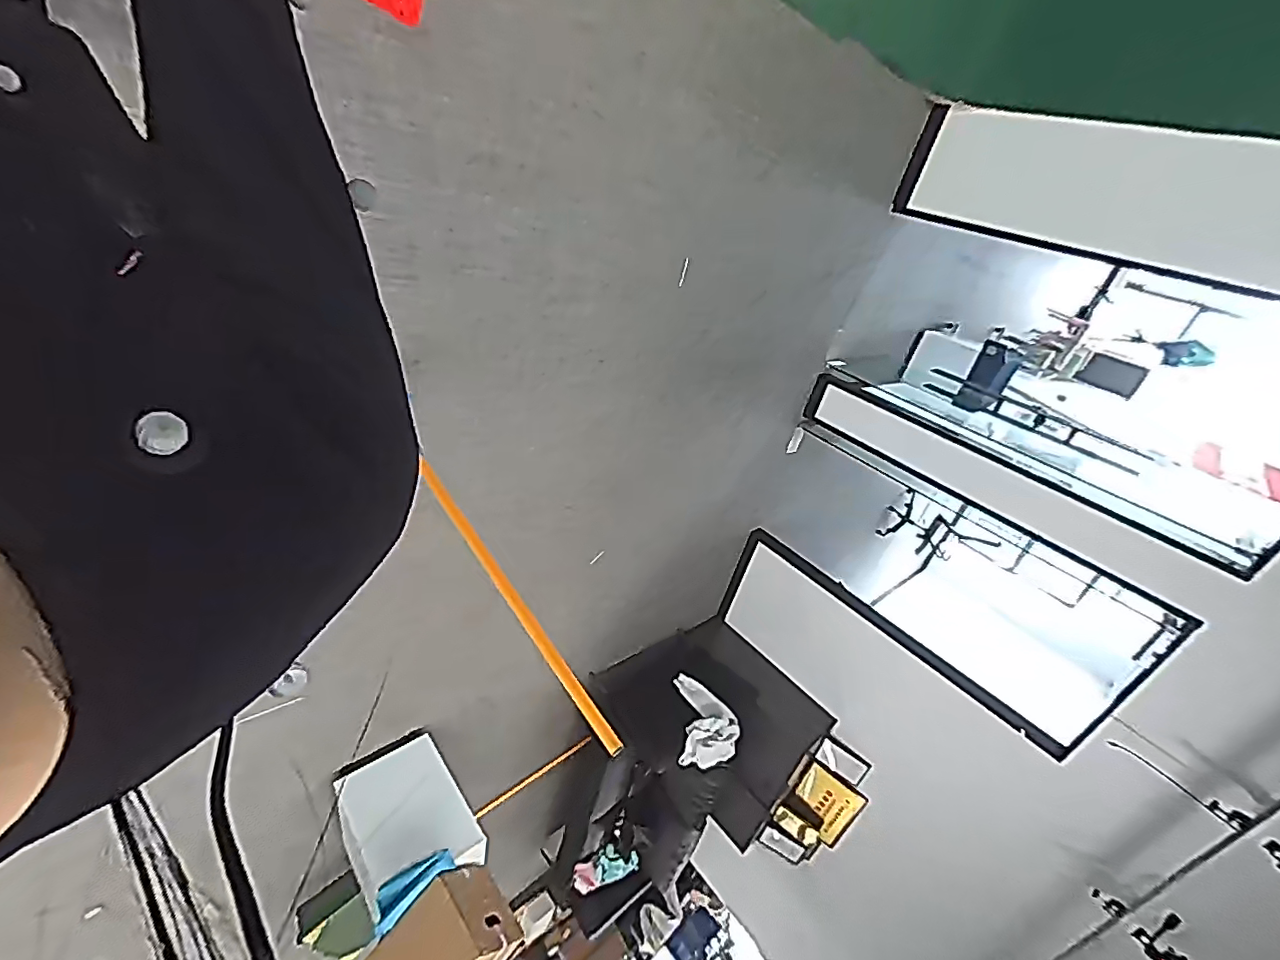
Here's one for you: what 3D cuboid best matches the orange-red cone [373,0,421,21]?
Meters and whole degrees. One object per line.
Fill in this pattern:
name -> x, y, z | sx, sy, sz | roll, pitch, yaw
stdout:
orange-red cone -> -0.411, -0.988, 0.980 | 0.198, 0.360, 0.199 | 1, 120, -49
